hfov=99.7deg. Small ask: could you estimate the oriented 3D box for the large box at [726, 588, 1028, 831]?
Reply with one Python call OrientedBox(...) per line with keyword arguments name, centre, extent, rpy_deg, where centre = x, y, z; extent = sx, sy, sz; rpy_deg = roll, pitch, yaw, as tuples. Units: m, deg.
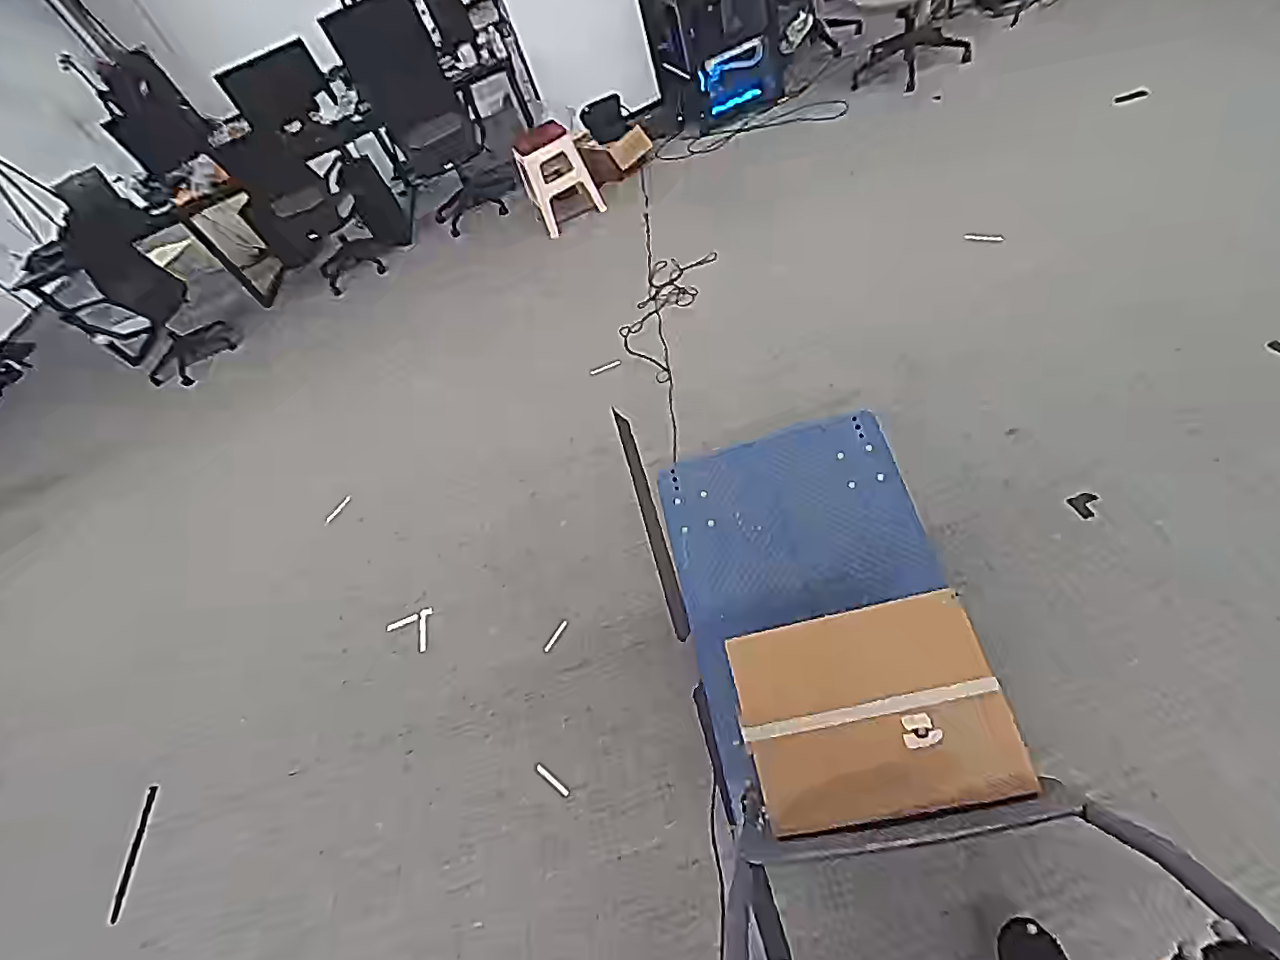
OrientedBox(name="large box", centre=(0.409, 0.429, 1.041), extent=(0.408, 0.320, 0.320), rpy_deg=(-16, 68, 9))
